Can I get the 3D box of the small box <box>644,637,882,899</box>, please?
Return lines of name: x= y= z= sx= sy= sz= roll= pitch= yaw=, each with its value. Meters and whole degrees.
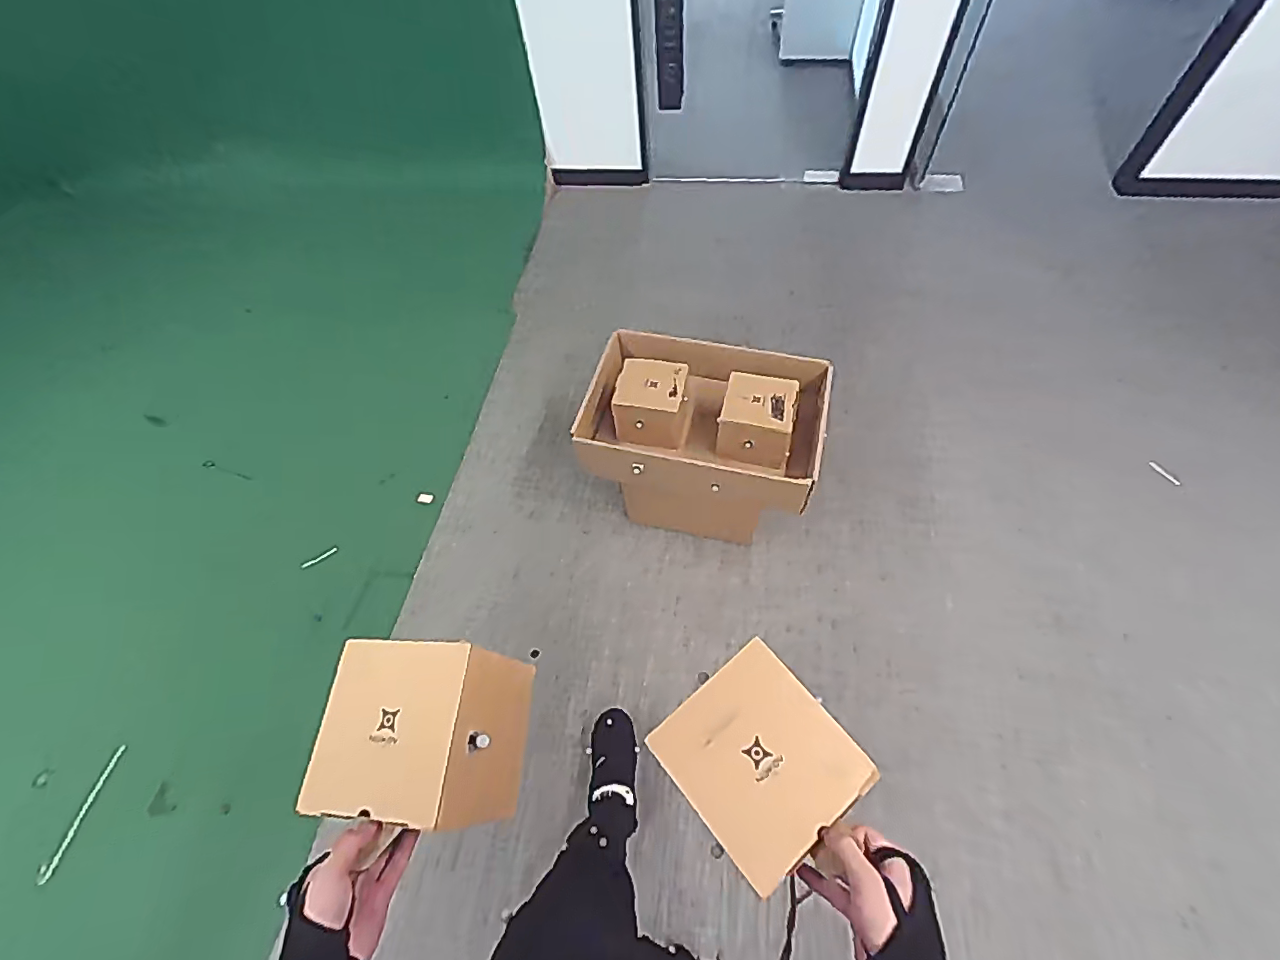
small box: x=0.124 y=0.305 z=0.604 sx=0.168 sy=0.176 sz=0.179 roll=-36 pitch=67 yaw=-13

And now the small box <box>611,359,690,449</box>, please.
small box: x=0.035 y=-0.201 z=1.456 sx=0.179 sy=0.176 sz=0.168 roll=9 pitch=60 yaw=11

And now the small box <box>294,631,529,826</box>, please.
small box: x=-0.245 y=0.284 z=0.630 sx=0.168 sy=0.176 sz=0.179 roll=-2 pitch=63 yaw=15
